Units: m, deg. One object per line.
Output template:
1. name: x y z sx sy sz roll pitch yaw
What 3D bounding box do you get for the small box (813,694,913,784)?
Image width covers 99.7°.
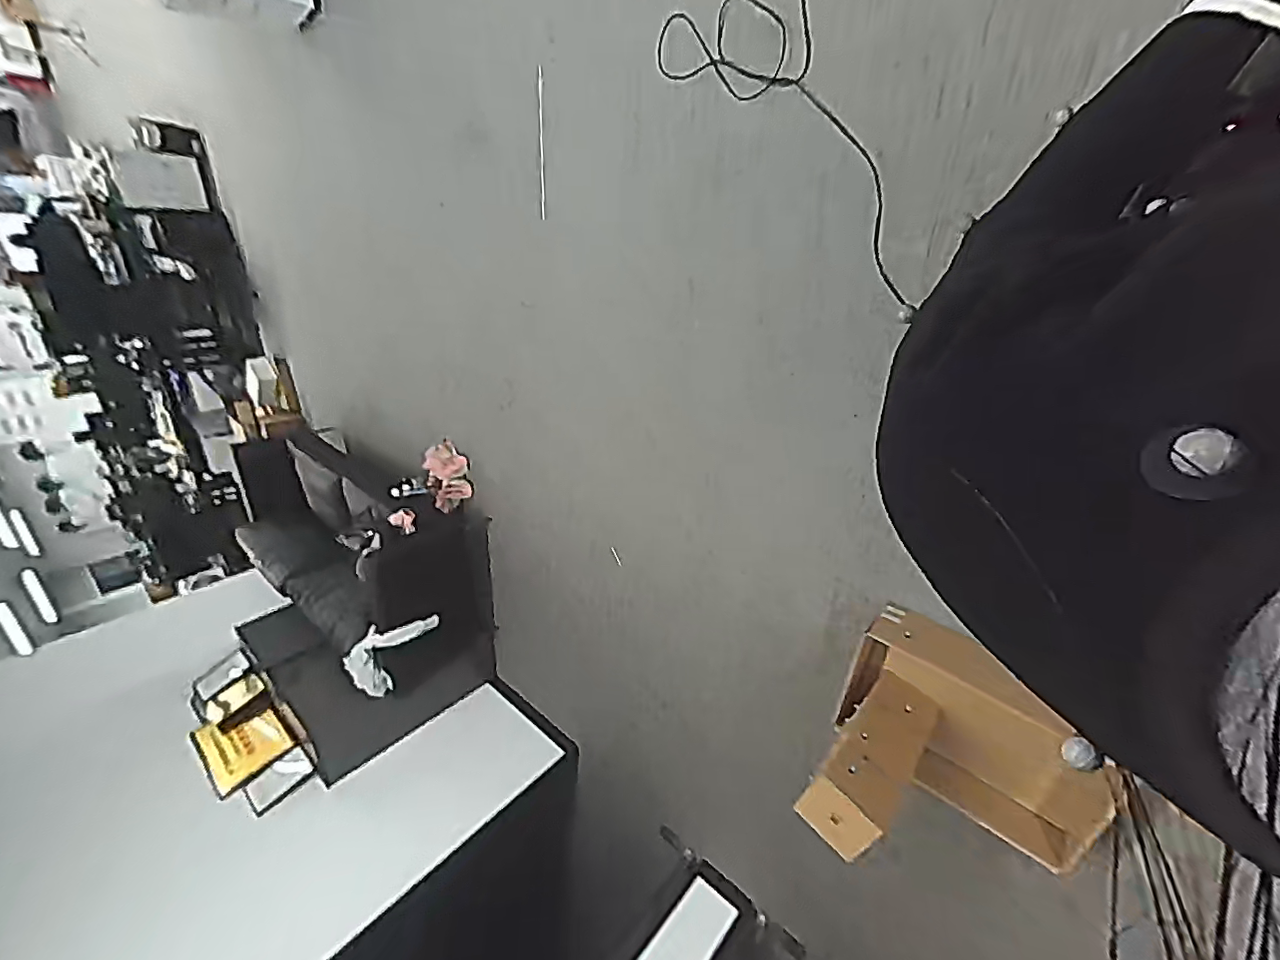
1. small box: 0.616 0.734 1.488 0.179 0.176 0.168 36 128 27

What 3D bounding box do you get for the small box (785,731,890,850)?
1. small box: 0.508 0.782 1.376 0.168 0.176 0.179 39 130 26
